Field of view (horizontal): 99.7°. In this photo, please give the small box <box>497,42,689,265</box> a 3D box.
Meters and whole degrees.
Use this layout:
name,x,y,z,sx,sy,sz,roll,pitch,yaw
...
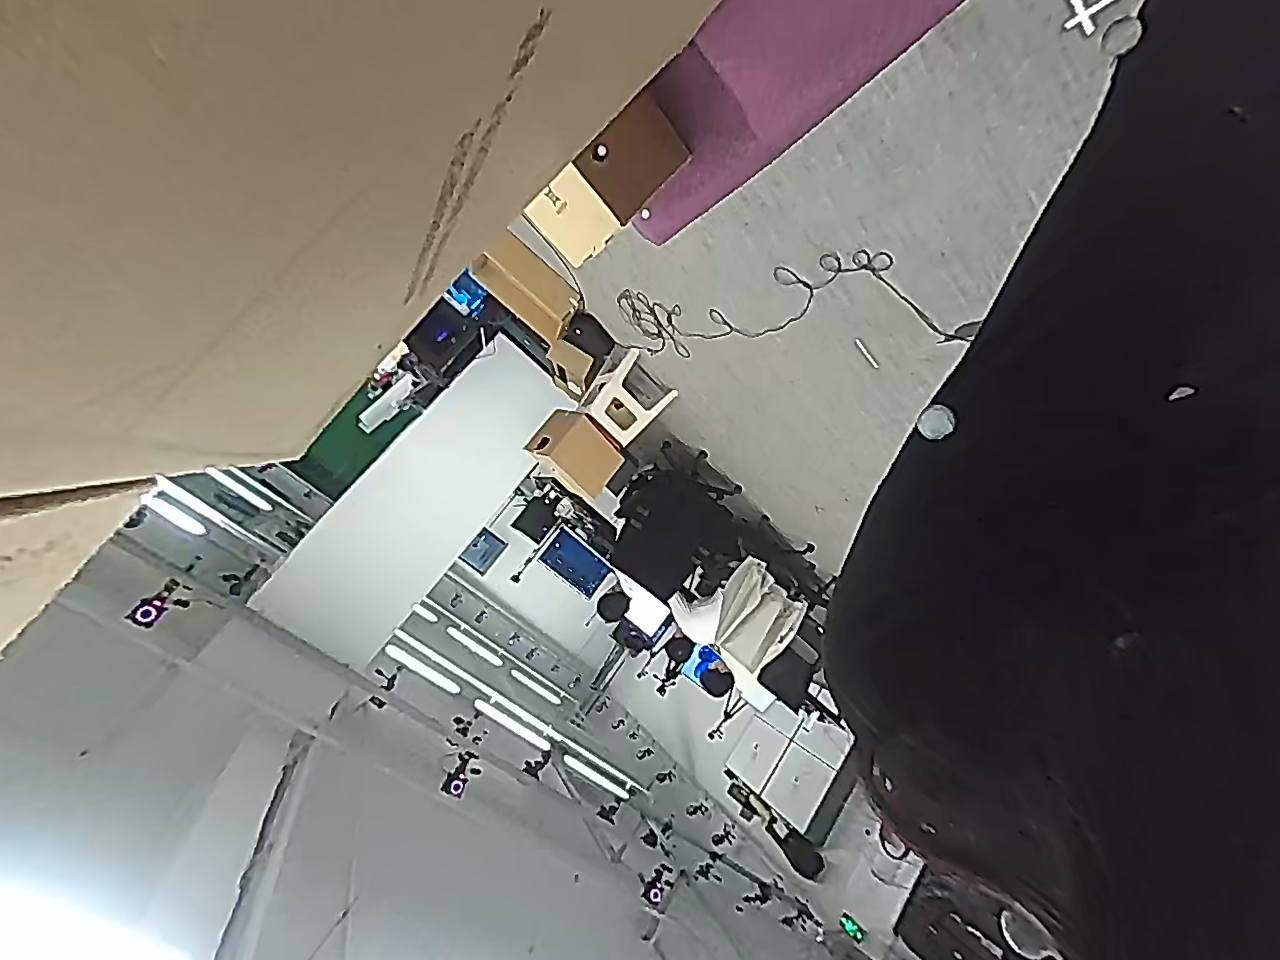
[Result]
name,x,y,z,sx,sy,sz,roll,pitch,yaw
small box,-0.064,-0.445,0.755,0.179,0.176,0.168,46,160,-21
